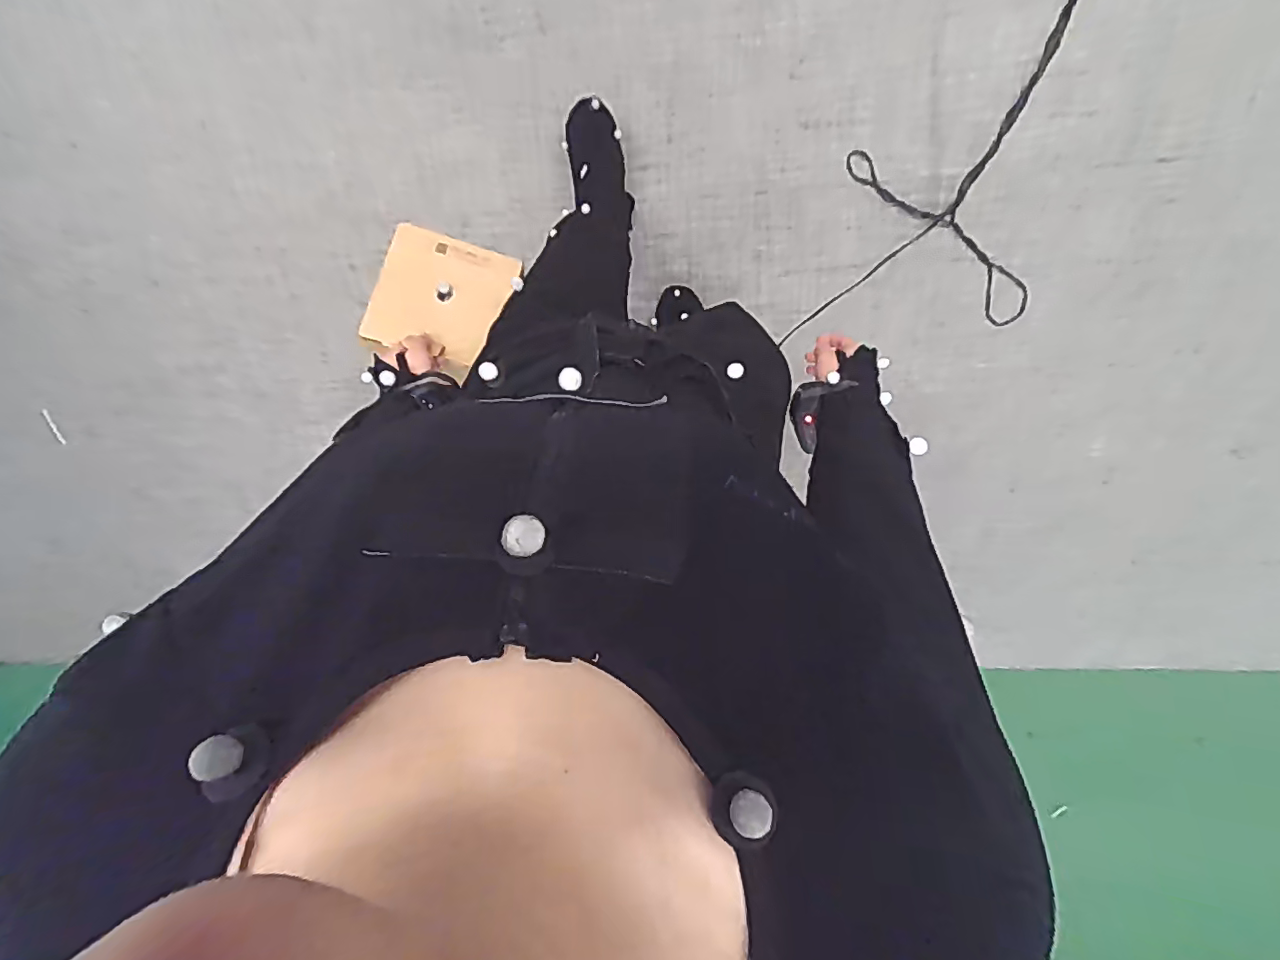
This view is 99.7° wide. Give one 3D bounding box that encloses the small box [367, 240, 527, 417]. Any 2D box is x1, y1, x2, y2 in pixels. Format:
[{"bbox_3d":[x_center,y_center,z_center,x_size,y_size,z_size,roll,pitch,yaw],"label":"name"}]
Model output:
[{"bbox_3d":[-0.266,-0.212,0.785,0.168,0.179,0.176,15,77,-9],"label":"small box"}]
